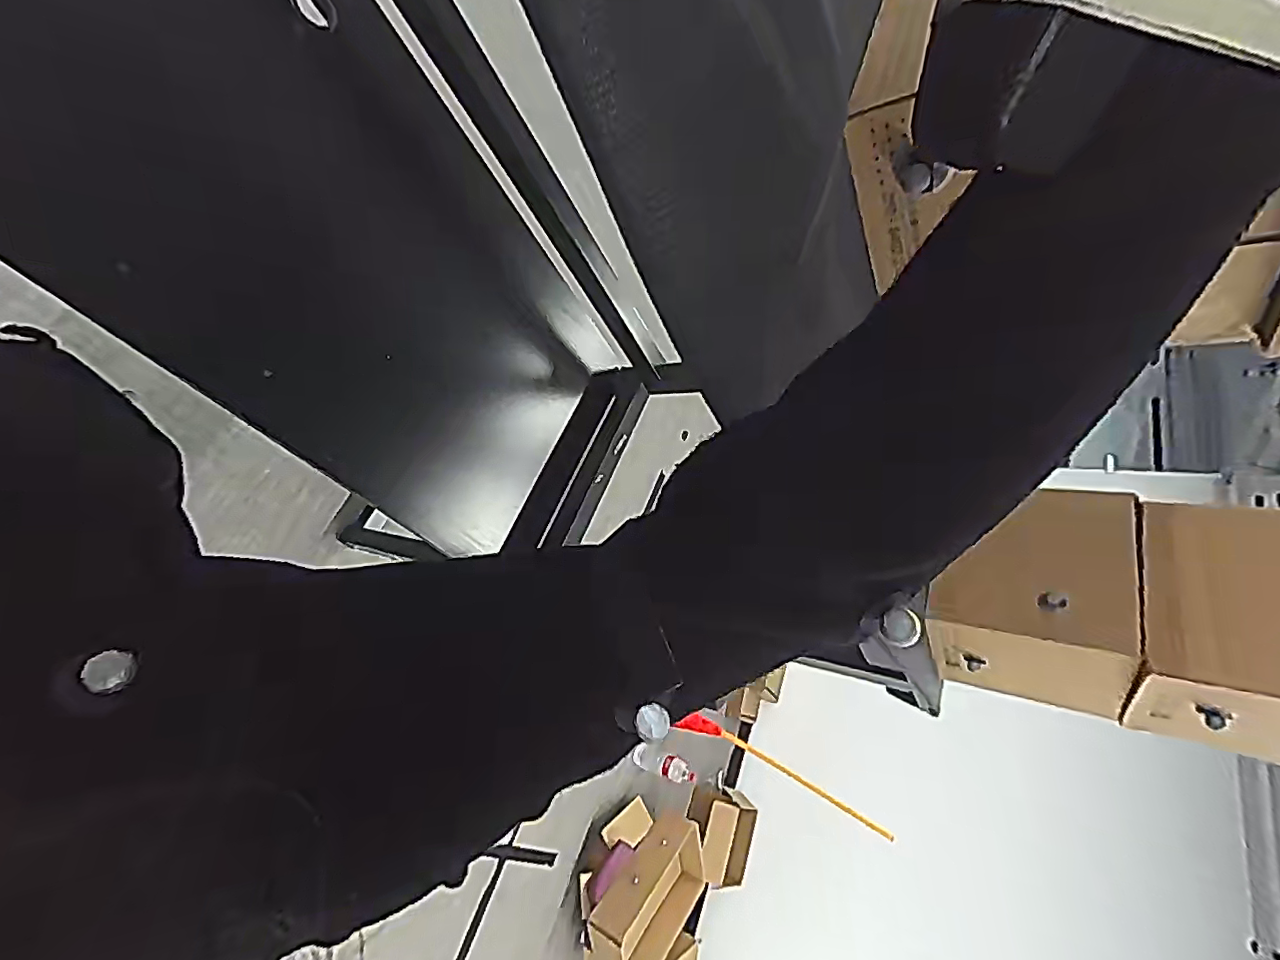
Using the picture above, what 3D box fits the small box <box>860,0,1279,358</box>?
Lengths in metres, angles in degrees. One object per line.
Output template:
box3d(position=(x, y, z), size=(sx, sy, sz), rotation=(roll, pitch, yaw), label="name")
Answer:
box3d(position=(0.228, -0.187, 0.297), size=(0.168, 0.176, 0.179), rotation=(51, 52, -44), label="small box")

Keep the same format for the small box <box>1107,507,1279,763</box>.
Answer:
box3d(position=(0.549, 0.139, 0.494), size=(0.168, 0.176, 0.179), rotation=(51, 54, -43), label="small box")
